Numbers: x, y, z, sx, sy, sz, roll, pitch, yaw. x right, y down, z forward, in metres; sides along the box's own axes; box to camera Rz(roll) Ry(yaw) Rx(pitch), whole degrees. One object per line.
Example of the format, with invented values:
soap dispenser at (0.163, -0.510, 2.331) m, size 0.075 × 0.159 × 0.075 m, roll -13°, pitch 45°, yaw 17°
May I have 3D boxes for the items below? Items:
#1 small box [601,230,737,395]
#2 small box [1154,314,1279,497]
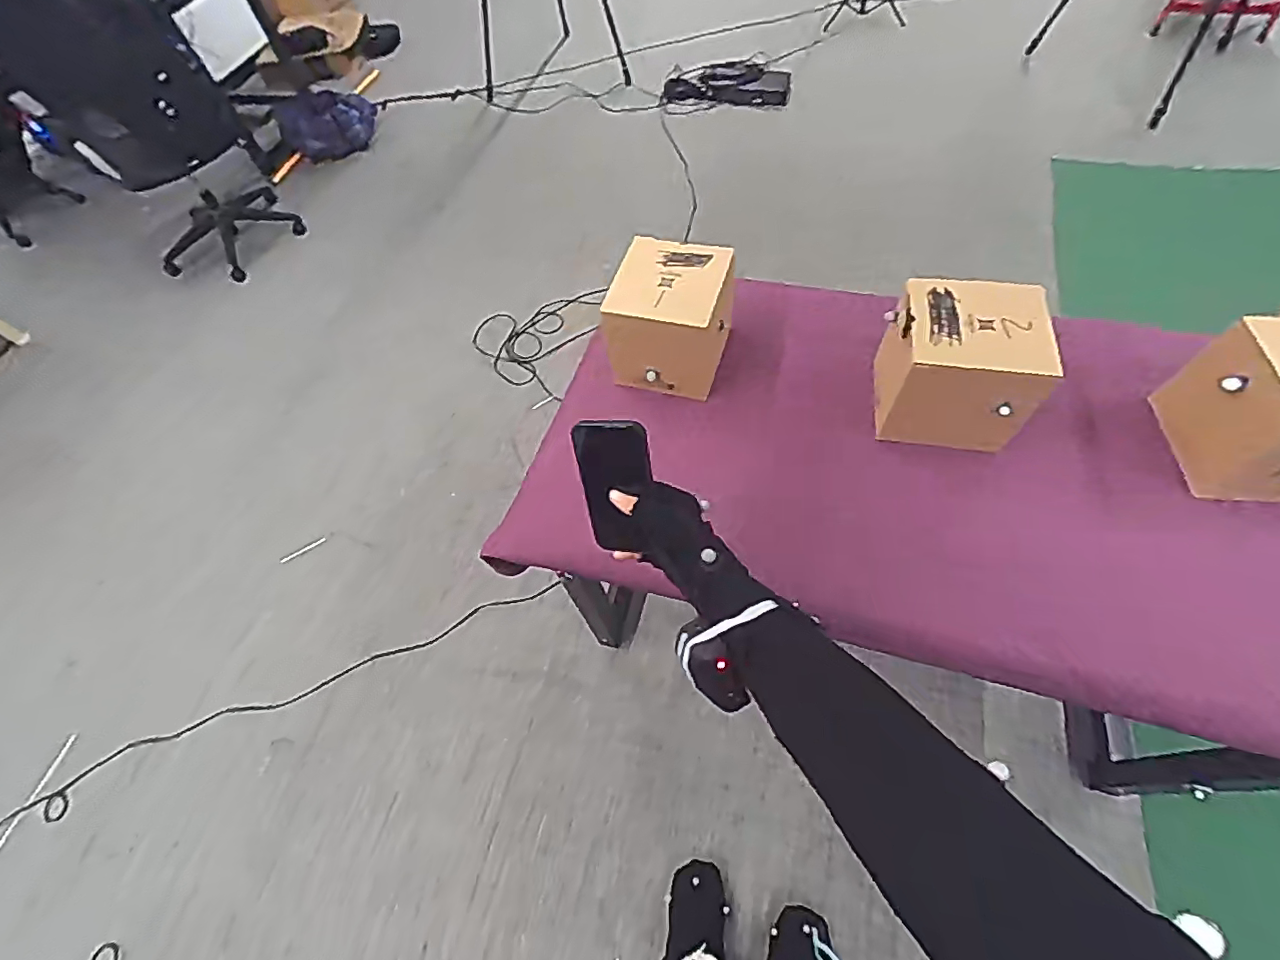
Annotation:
small box at (0.051, -0.268, 0.874) m, size 0.168 × 0.176 × 0.179 m, roll 13°, pitch 63°, yaw 14°
small box at (0.823, -0.088, 0.686) m, size 0.168 × 0.176 × 0.179 m, roll 3°, pitch 59°, yaw 9°
